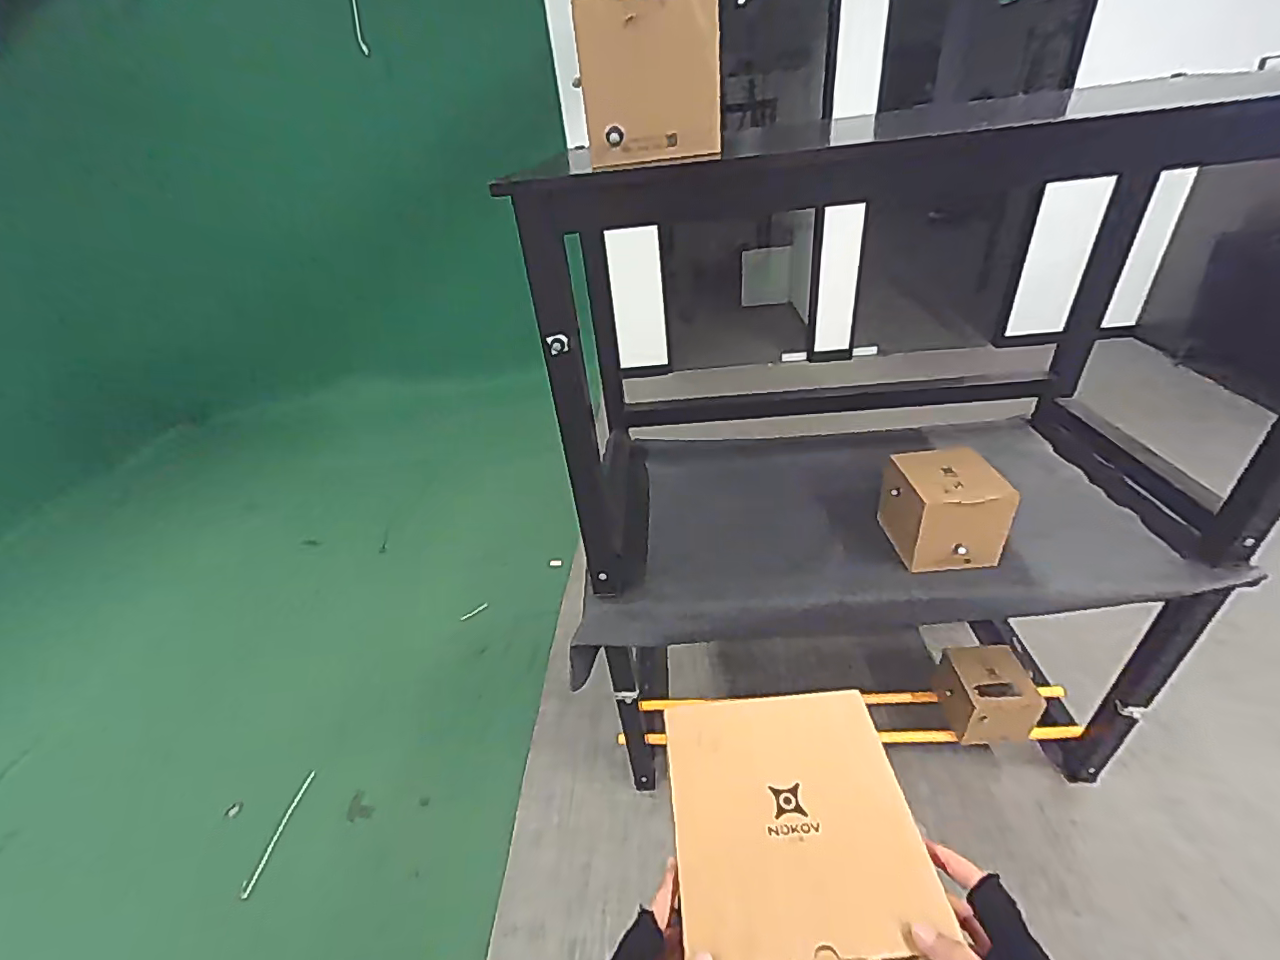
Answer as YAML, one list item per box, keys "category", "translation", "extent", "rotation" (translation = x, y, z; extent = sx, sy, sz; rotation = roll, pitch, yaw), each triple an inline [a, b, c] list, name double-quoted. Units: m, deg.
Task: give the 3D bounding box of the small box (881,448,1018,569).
- category: "small box"
  translation: [0.598, 0.055, 1.074]
  extent: [0.168, 0.176, 0.179]
  rotation: [-5, 33, 3]

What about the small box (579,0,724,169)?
- category: "small box"
  translation: [0.017, -0.520, 0.720]
  extent: [0.168, 0.176, 0.179]
  rotation: [-6, 33, 1]
